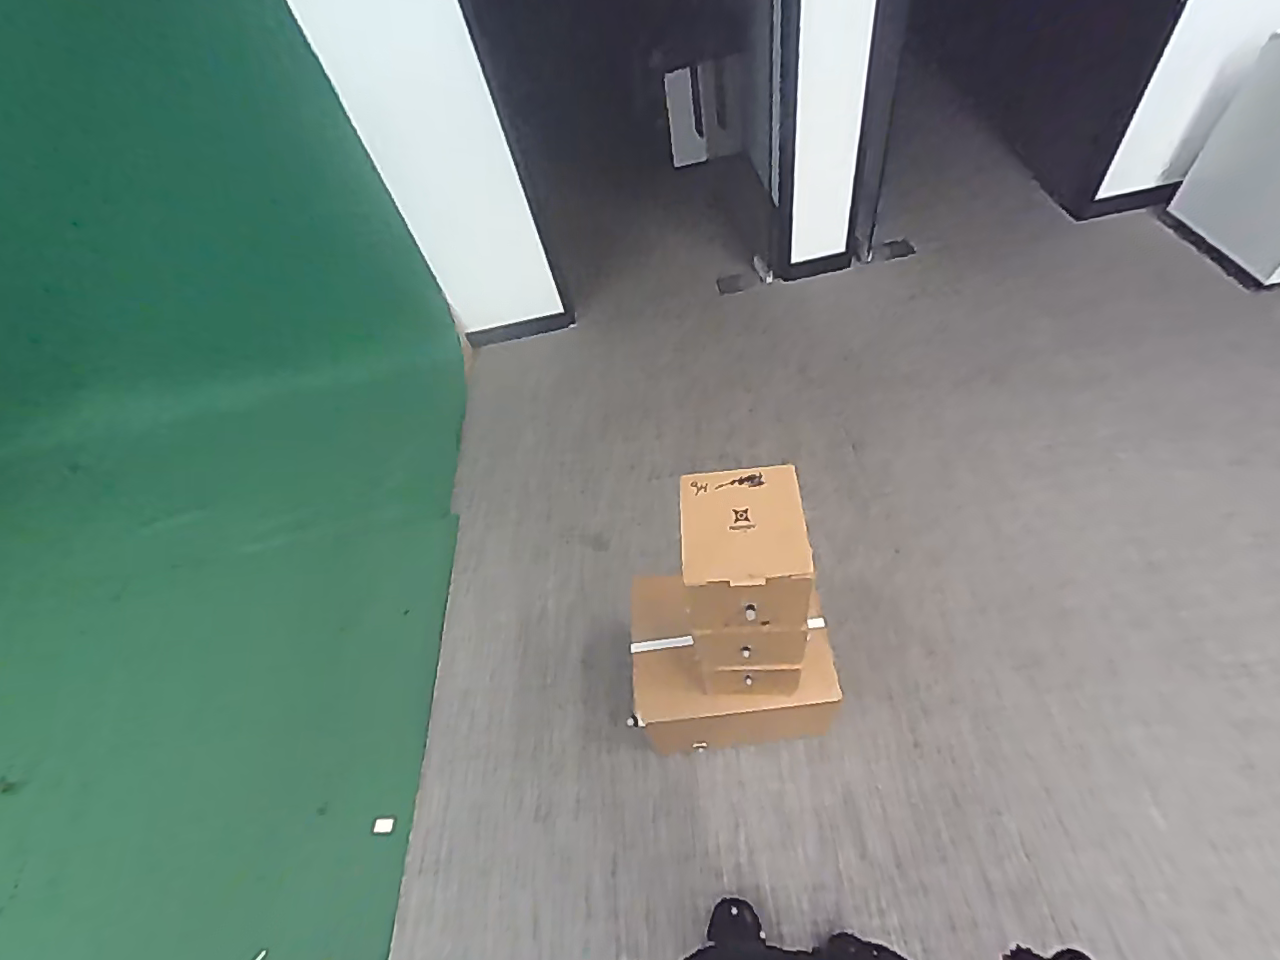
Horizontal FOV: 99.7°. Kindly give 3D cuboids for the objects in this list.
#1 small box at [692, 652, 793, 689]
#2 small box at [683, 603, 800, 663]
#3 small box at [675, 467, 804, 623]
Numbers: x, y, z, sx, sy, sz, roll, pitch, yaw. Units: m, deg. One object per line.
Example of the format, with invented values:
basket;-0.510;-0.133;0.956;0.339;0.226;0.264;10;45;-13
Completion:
small box;0.195;0.302;1.049;0.179;0.176;0.168;-4;55;8
small box;0.169;0.205;0.920;0.179;0.176;0.168;-6;54;11
small box;0.144;0.104;0.794;0.168;0.176;0.179;-5;55;9
